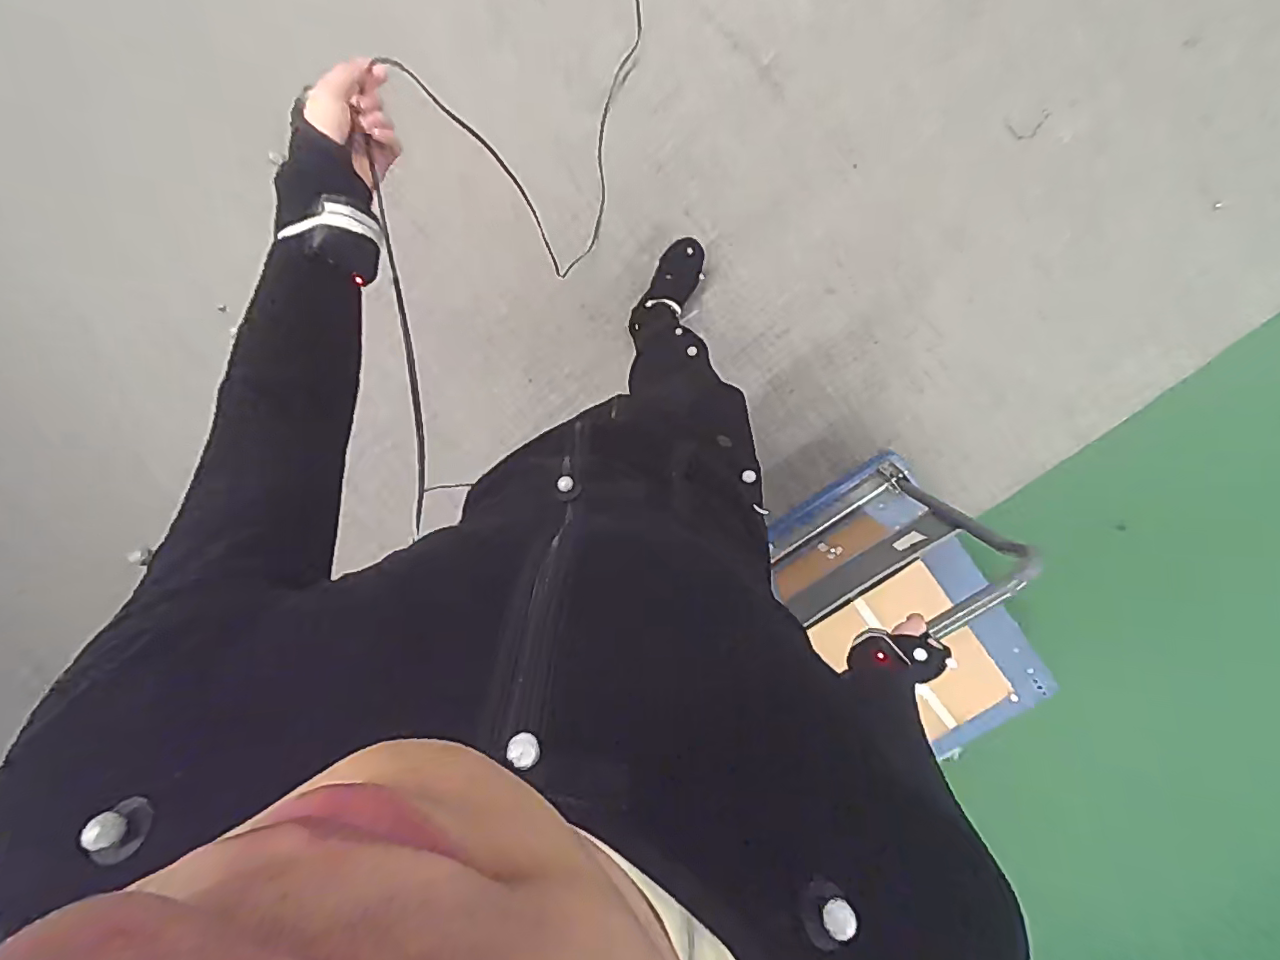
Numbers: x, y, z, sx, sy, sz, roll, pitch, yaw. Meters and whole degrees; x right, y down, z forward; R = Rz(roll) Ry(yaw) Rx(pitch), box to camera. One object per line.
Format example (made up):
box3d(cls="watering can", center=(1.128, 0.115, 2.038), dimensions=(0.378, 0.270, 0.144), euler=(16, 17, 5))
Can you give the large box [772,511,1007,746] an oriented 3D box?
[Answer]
box3d(cls="large box", center=(0.593, 0.353, 1.356), dimensions=(0.320, 0.320, 0.408), euler=(-37, 100, 12))
